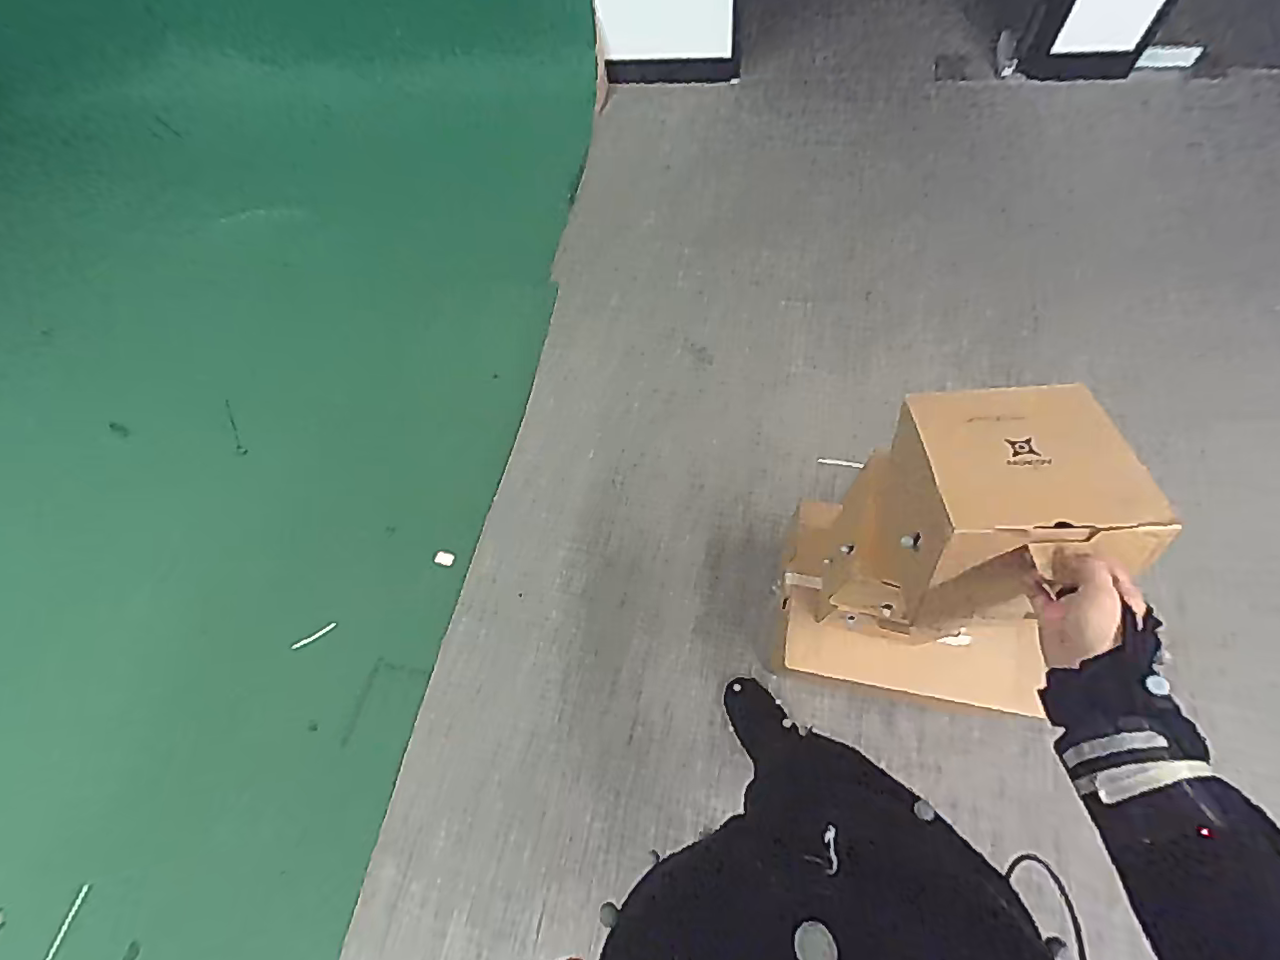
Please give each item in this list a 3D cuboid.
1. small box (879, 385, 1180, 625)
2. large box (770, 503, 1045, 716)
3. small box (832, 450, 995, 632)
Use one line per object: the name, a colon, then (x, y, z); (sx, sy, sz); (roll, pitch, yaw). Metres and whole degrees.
small box: (0.350, 0.030, 0.535); (0.168, 0.176, 0.179); (-2, 47, 9)
large box: (0.487, 0.262, 1.070); (0.408, 0.320, 0.320); (8, 70, 10)
small box: (0.364, 0.087, 0.716); (0.168, 0.176, 0.179); (13, 70, 13)
